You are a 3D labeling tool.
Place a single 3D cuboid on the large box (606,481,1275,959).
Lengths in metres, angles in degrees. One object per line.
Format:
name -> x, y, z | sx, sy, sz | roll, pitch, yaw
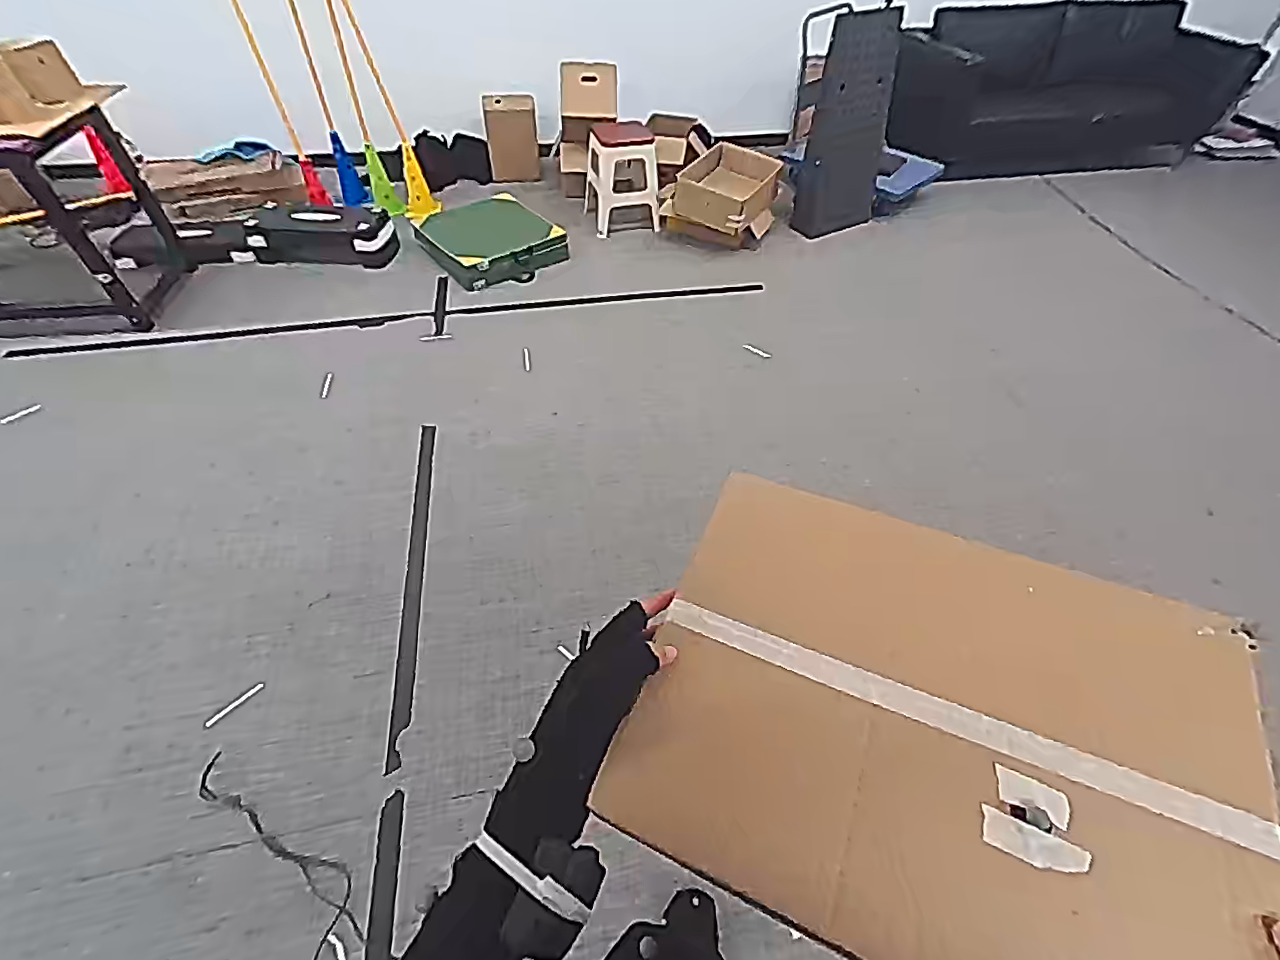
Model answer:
large box -> 0.224, 0.256, 0.526 | 0.408, 0.320, 0.320 | 18, 59, 18
